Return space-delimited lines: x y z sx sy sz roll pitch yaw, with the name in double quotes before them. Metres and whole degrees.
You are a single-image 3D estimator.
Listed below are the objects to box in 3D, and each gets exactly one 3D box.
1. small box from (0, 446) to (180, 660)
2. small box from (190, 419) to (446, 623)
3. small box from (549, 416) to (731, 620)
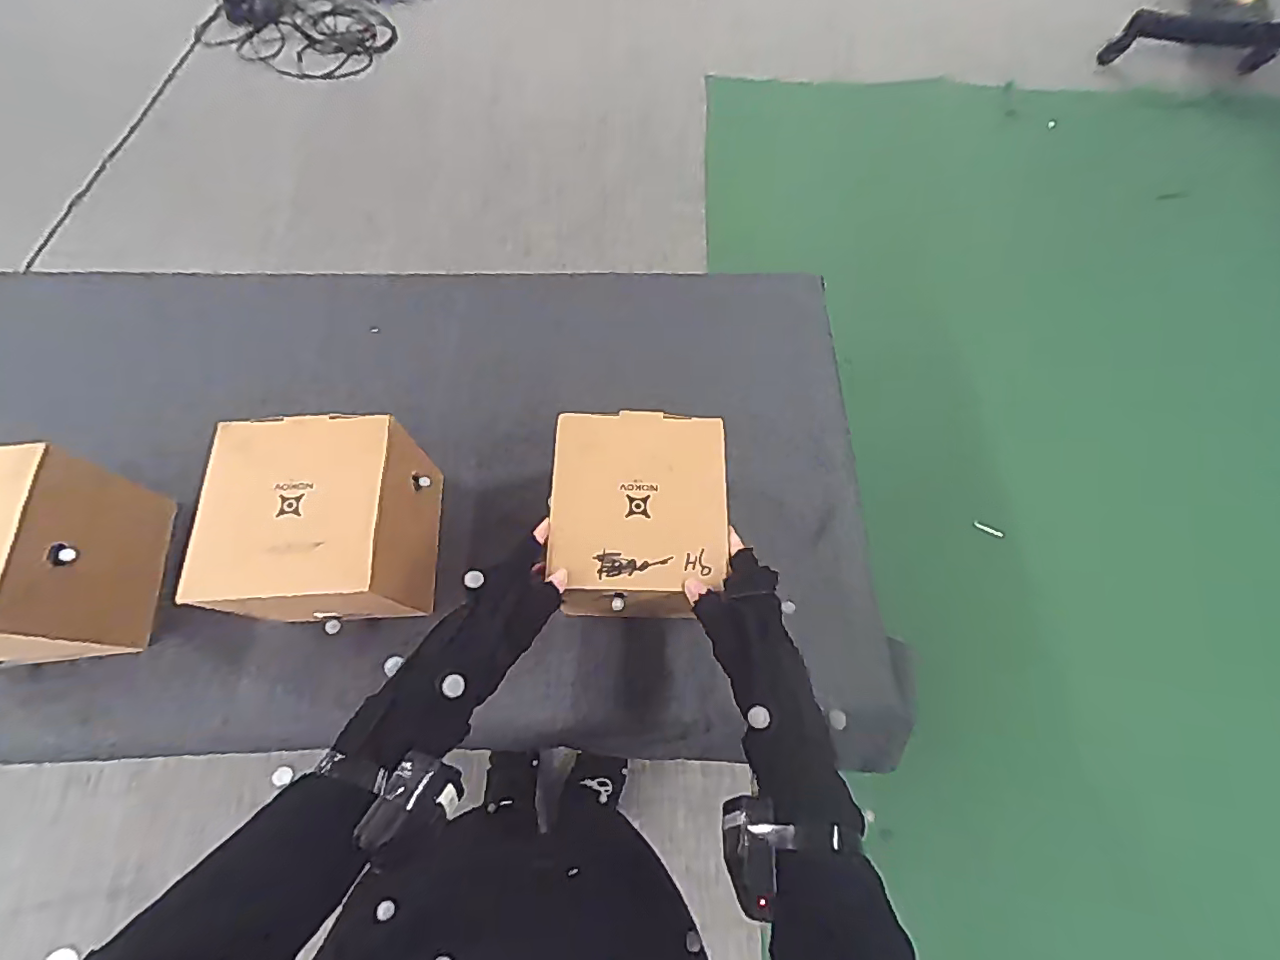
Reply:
"small box" -0.625 0.084 0.551 0.168 0.176 0.179 -5 67 -4
"small box" -0.317 0.051 0.578 0.168 0.176 0.179 -3 70 -2
"small box" 0.000 0.048 0.585 0.168 0.176 0.179 1 68 0
